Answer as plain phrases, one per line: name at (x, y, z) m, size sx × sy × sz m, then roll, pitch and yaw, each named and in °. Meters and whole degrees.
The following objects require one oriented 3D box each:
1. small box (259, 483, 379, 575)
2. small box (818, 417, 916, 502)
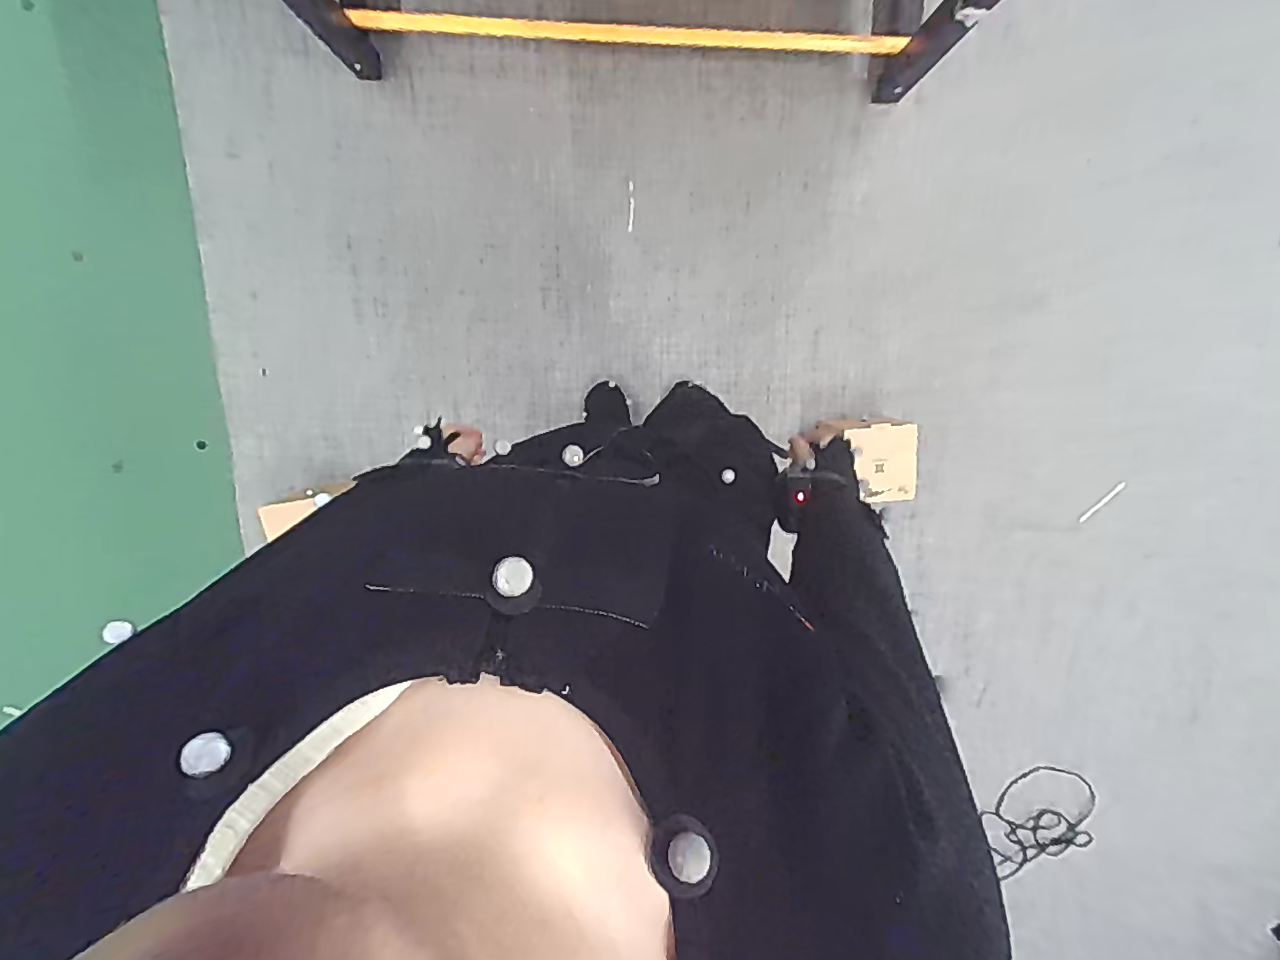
small box at (-0.753, 0.110, 1.297) m, size 0.179 × 0.176 × 0.168 m, roll -9°, pitch 102°, yaw 2°
small box at (0.530, -0.055, 1.280) m, size 0.168 × 0.176 × 0.179 m, roll -5°, pitch 101°, yaw 0°
